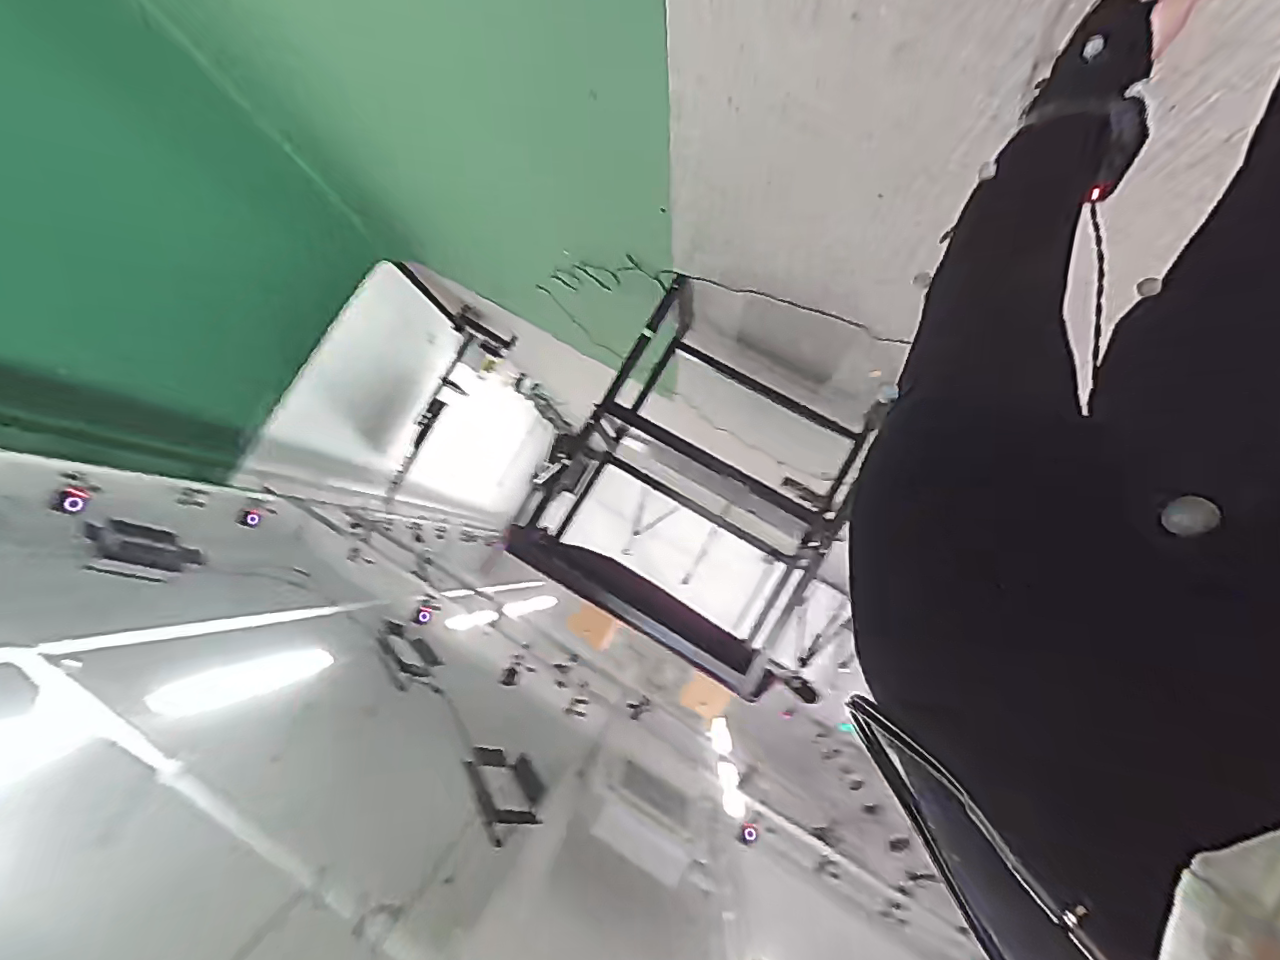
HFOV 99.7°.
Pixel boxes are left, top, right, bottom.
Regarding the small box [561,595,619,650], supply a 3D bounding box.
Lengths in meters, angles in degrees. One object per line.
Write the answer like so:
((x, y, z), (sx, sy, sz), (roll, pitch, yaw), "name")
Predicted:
((-0.214, 0.618, 2.367), (0.179, 0.176, 0.168), (29, 175, 12), "small box")

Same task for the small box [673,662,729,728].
((0.258, 0.897, 2.271), (0.179, 0.176, 0.168), (31, 175, 10), "small box")
